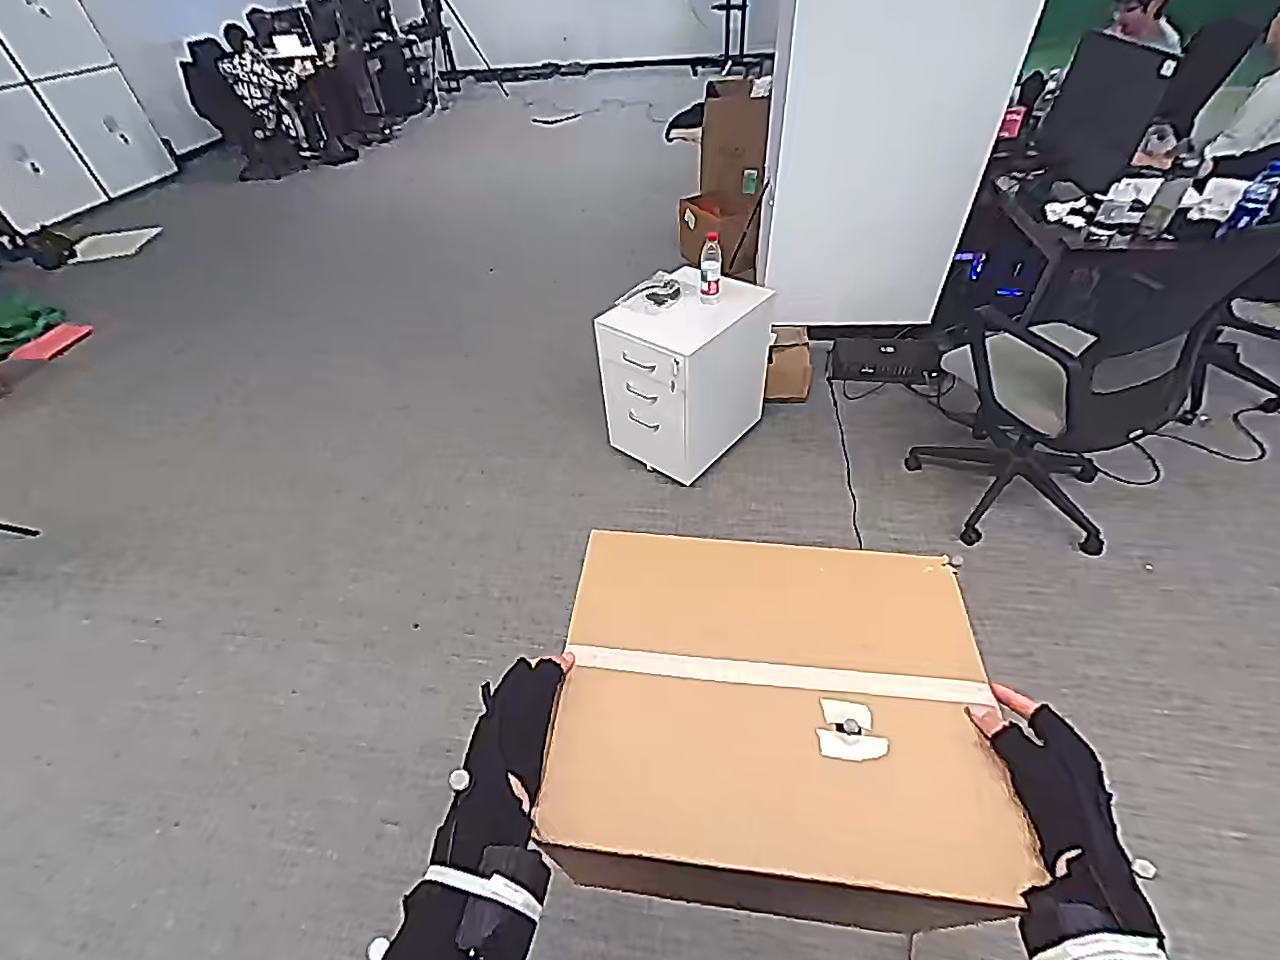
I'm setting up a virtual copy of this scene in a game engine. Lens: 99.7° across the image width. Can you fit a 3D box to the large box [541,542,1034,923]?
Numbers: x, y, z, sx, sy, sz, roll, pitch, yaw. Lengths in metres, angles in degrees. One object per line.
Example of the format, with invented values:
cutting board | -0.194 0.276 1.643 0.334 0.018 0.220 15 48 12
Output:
large box | 0.130 0.298 0.644 0.408 0.320 0.320 4 49 6
